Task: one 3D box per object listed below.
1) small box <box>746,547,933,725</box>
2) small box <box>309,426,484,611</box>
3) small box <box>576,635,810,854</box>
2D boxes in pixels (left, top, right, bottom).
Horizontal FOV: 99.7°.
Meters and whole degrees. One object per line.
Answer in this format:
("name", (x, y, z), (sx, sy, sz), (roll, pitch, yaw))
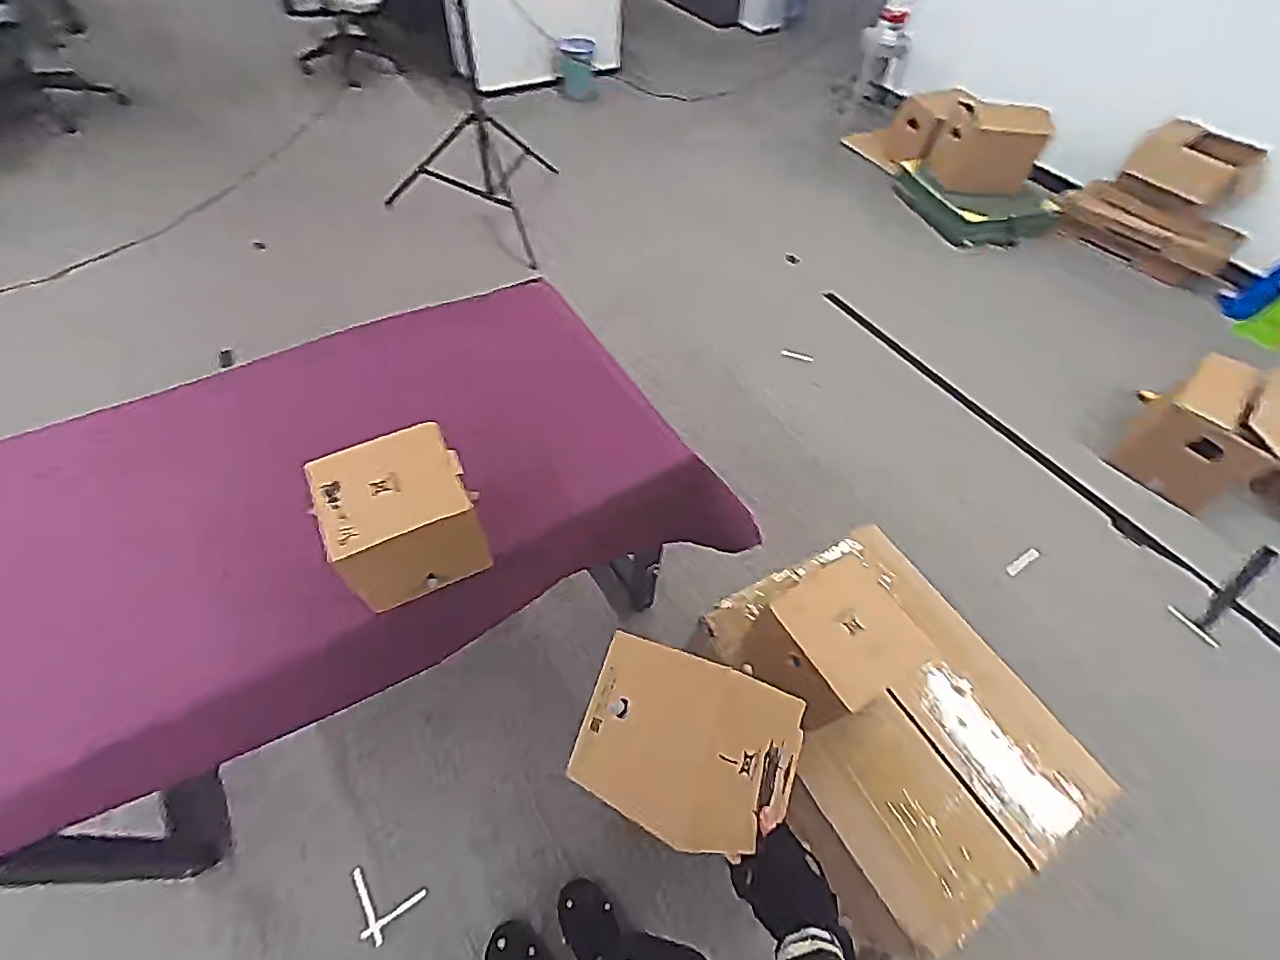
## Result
("small box", (0.285, 0.239, 0.816), (0.168, 0.176, 0.179), (-28, 63, -19))
("small box", (-0.334, 0.057, 0.773), (0.179, 0.176, 0.168), (-22, 58, -19))
("small box", (0.062, 0.290, 0.613), (0.176, 0.179, 0.168), (1, 62, 45))
